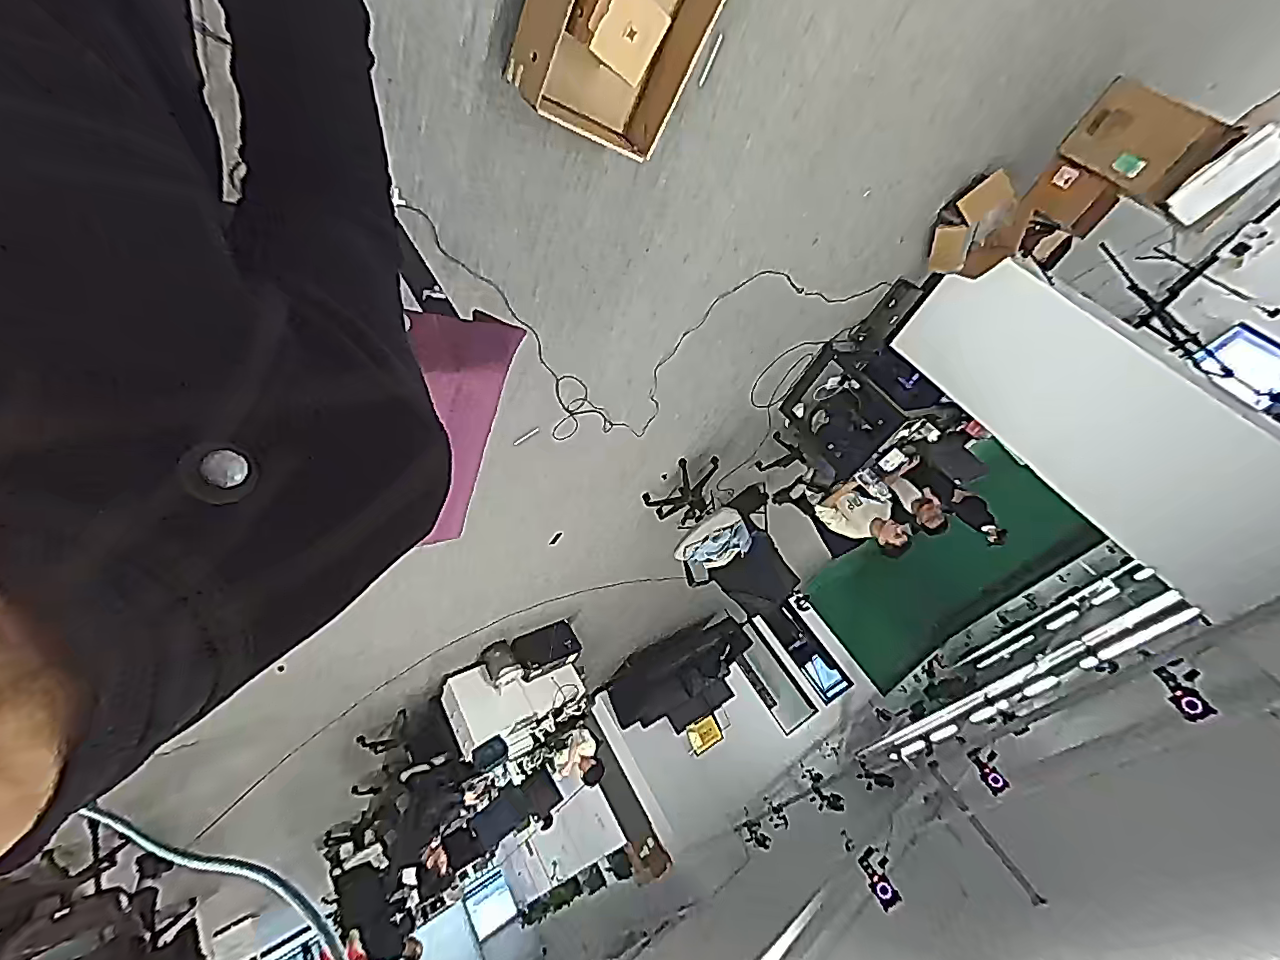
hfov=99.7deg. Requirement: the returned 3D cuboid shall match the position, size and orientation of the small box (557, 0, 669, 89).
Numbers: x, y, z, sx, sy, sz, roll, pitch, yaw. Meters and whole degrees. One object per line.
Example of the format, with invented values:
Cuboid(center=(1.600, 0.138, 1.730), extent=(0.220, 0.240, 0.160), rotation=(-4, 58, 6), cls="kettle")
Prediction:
Cuboid(center=(-0.071, -1.115, 1.320), extent=(0.179, 0.176, 0.168), rotation=(1, 136, -50), cls="small box")
